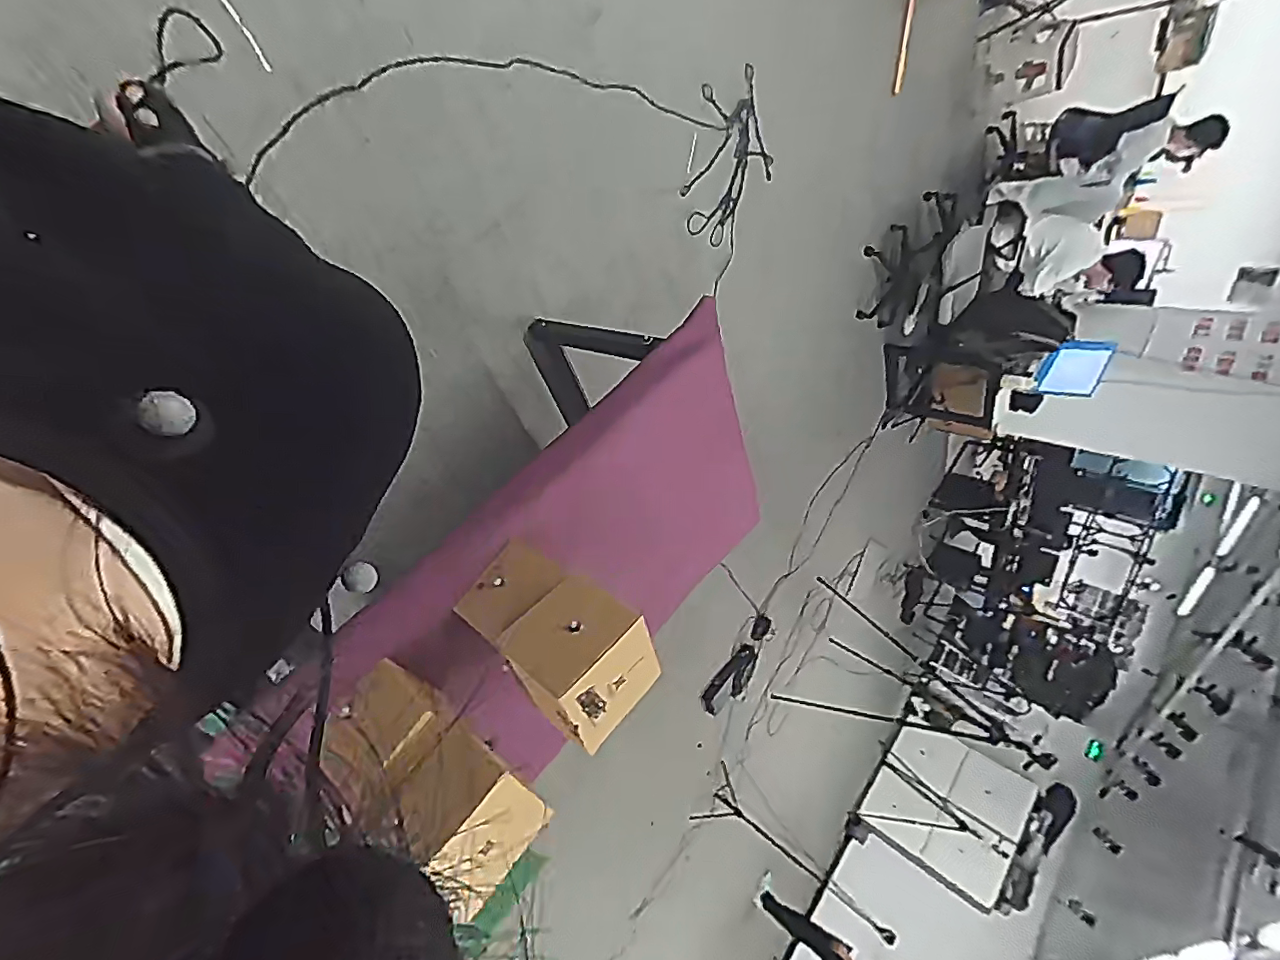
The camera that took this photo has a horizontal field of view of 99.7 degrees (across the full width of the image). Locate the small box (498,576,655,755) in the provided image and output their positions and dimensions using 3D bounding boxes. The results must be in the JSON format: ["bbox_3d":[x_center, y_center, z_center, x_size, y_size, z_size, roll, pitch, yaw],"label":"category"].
[{"bbox_3d":[-0.105,0.289,0.872,0.179,0.176,0.168,-40,134,-31],"label":"small box"}]

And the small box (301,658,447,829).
[{"bbox_3d":[-0.401,0.424,0.860,0.179,0.176,0.168,-49,137,-22],"label":"small box"}]

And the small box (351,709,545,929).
[{"bbox_3d":[-0.275,0.469,0.765,0.179,0.176,0.168,-45,135,-27],"label":"small box"}]

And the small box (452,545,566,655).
[{"bbox_3d":[-0.205,0.246,0.998,0.168,0.176,0.179,-51,138,-20],"label":"small box"}]
